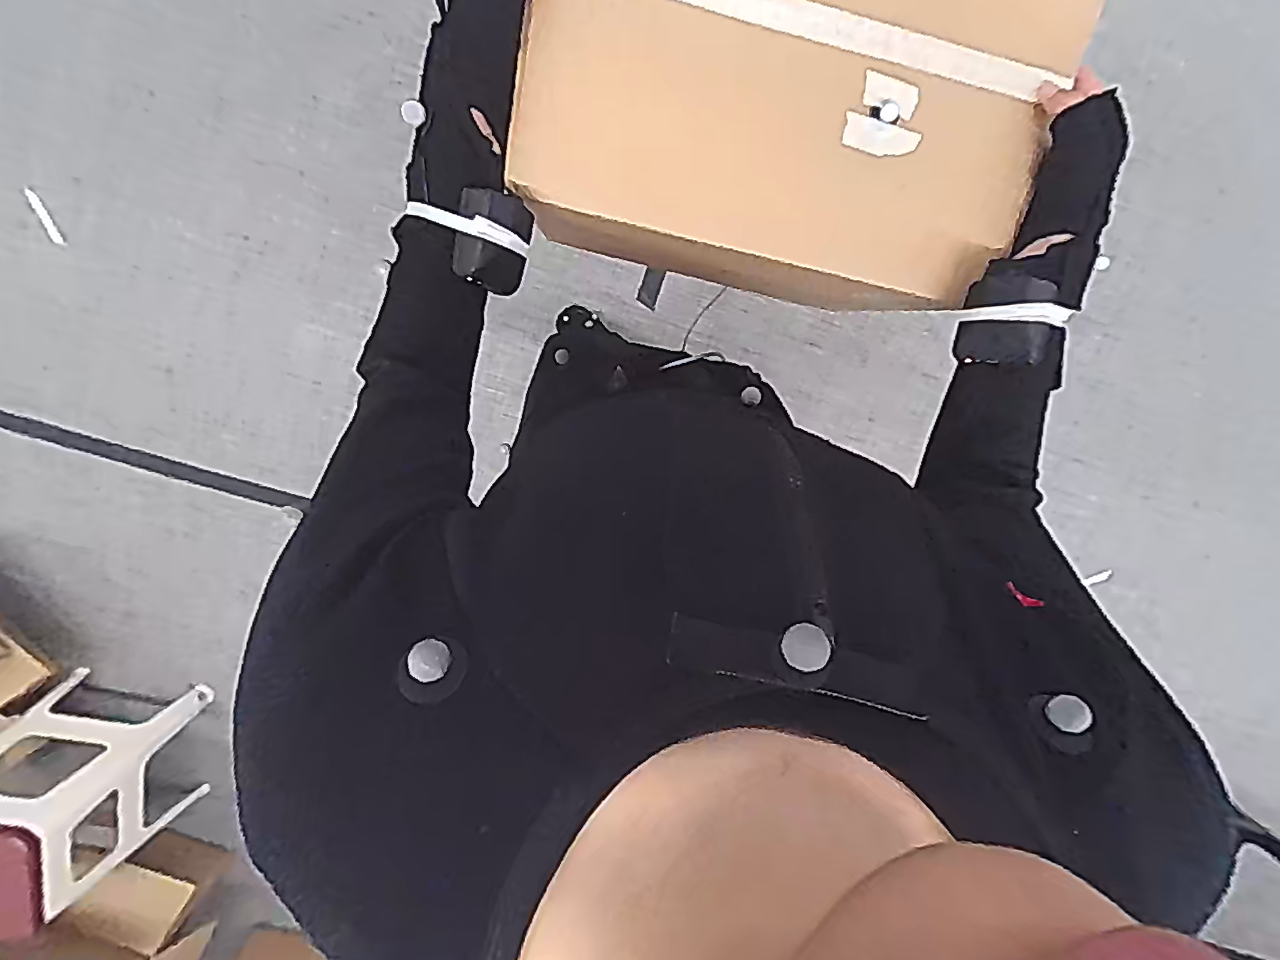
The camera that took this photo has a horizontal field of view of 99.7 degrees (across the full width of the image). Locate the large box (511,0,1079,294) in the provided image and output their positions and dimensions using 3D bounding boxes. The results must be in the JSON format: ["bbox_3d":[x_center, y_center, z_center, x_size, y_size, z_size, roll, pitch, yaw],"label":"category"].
[{"bbox_3d":[0.108,-0.384,0.536,0.408,0.320,0.320,10,108,-8],"label":"large box"}]
